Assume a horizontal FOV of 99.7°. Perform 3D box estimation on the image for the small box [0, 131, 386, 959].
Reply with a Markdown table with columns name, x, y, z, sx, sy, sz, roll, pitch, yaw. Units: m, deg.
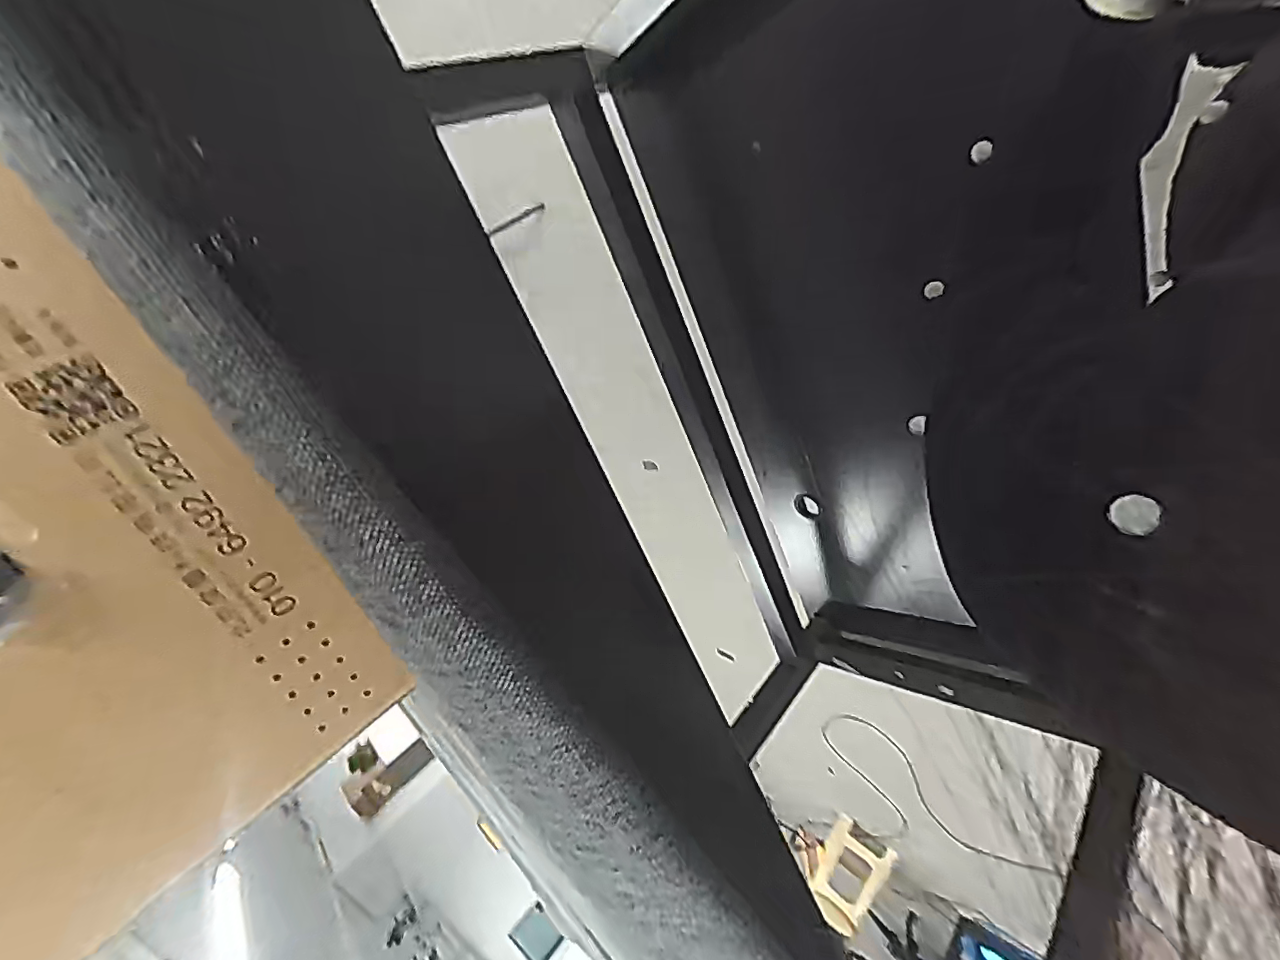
| name | x | y | z | sx | sy | sz | roll | pitch | yaw |
| --- | --- | --- | --- | --- | --- | --- | --- | --- | --- |
| small box | -0.207 | 0.030 | 0.159 | 0.179 | 0.176 | 0.168 | 4 | 126 | 51 |
